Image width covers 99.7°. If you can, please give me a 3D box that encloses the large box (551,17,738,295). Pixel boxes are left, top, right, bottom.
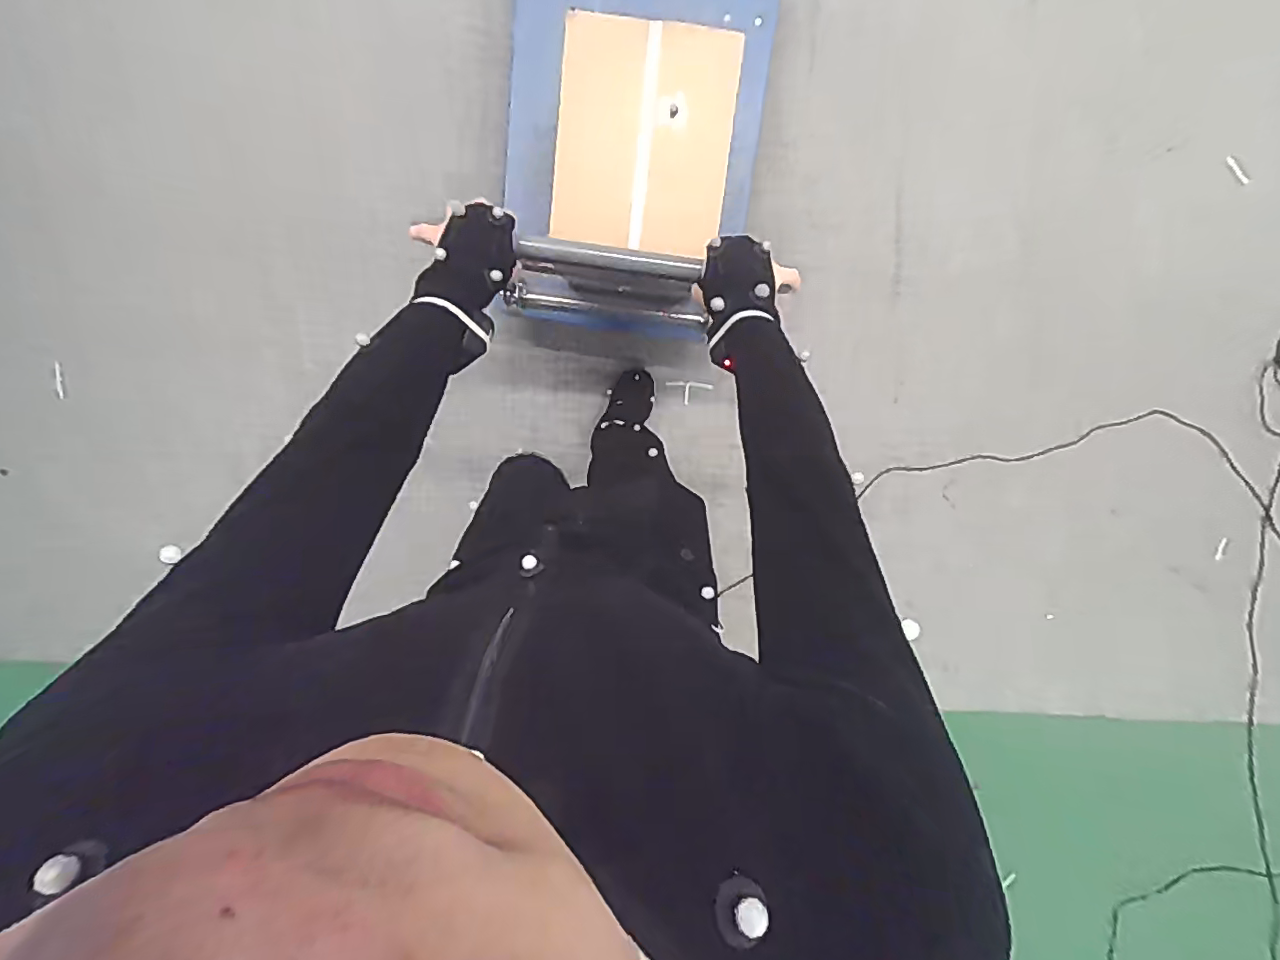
[{"bbox_3d":[0.002,-0.624,1.126,0.320,0.320,0.408,6,101,-3],"label":"large box"}]
